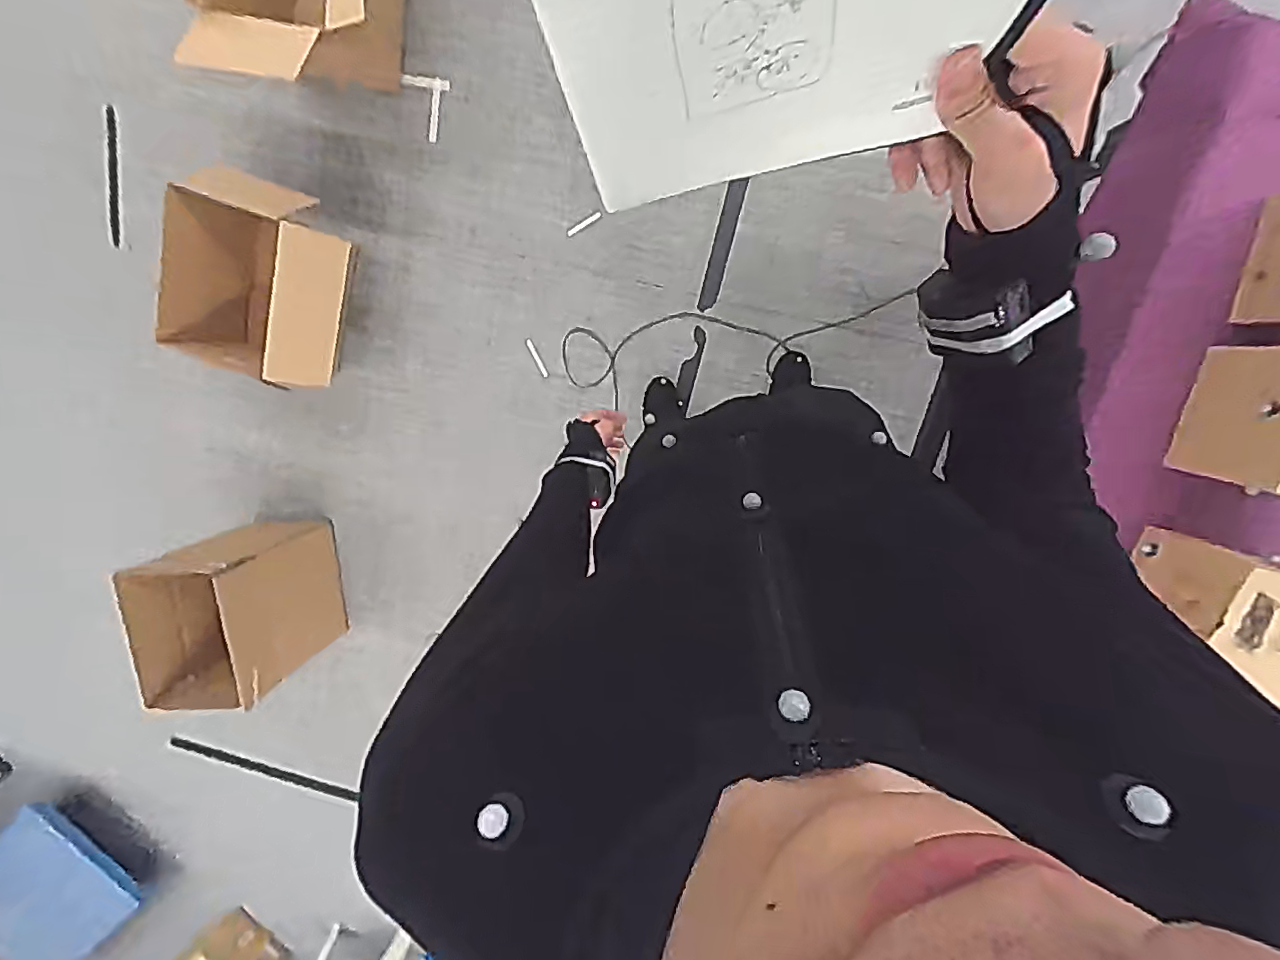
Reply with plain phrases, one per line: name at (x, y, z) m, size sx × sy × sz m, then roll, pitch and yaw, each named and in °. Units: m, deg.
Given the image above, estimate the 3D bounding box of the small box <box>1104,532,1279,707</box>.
small box at (0.818, 0.187, 0.755) m, size 0.179 × 0.176 × 0.168 m, roll 17°, pitch 105°, yaw 2°

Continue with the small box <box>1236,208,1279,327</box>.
small box at (0.893, -0.266, 0.640) m, size 0.179 × 0.176 × 0.168 m, roll 7°, pitch 105°, yaw 5°
